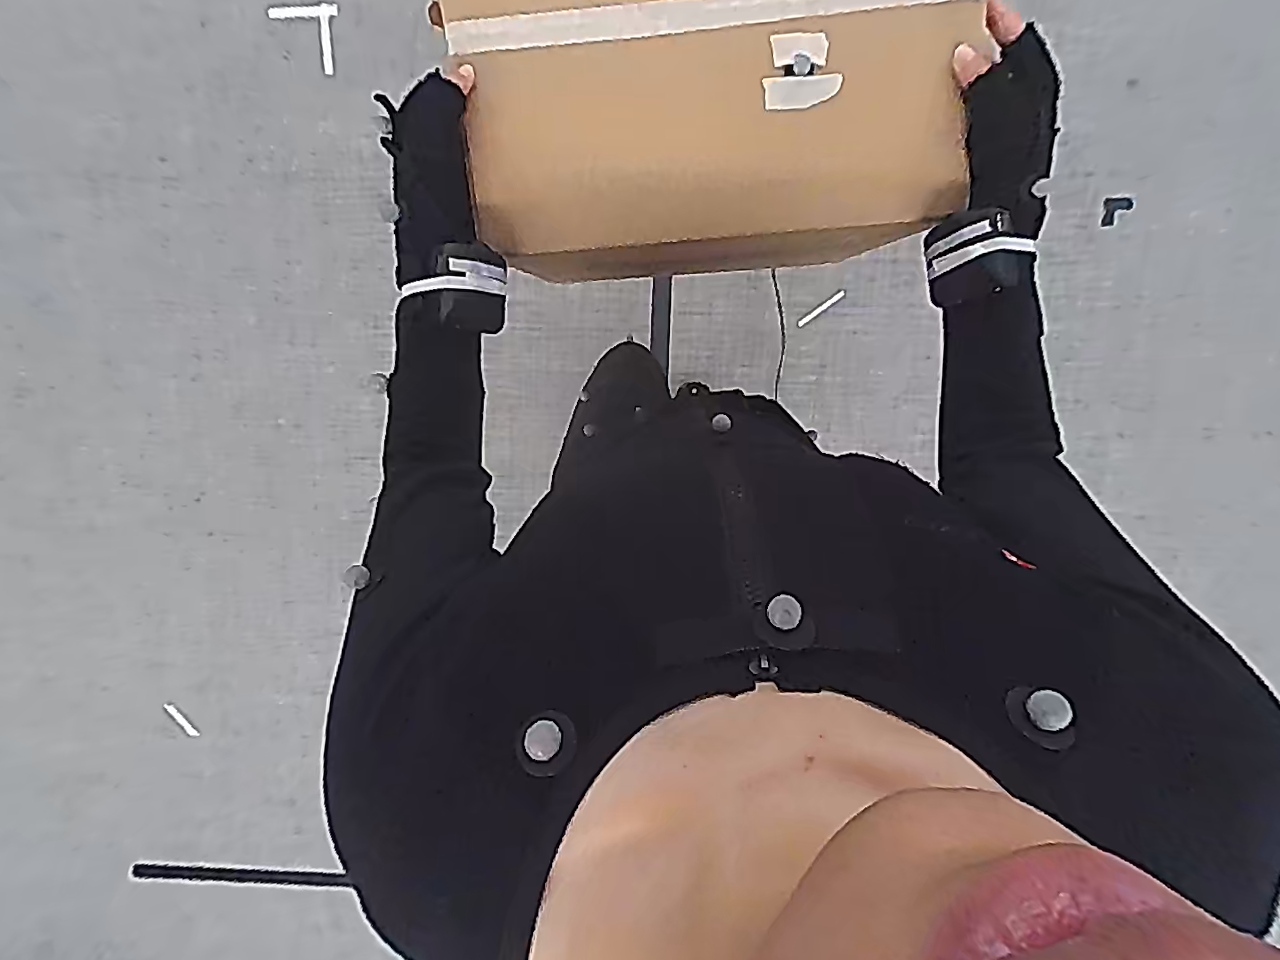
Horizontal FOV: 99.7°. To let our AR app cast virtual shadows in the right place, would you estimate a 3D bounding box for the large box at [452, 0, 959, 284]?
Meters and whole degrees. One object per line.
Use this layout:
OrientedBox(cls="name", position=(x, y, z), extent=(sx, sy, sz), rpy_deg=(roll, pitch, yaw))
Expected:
OrientedBox(cls="large box", position=(0.053, -0.401, 0.572), extent=(0.408, 0.320, 0.320), rpy_deg=(-4, 106, 2))
